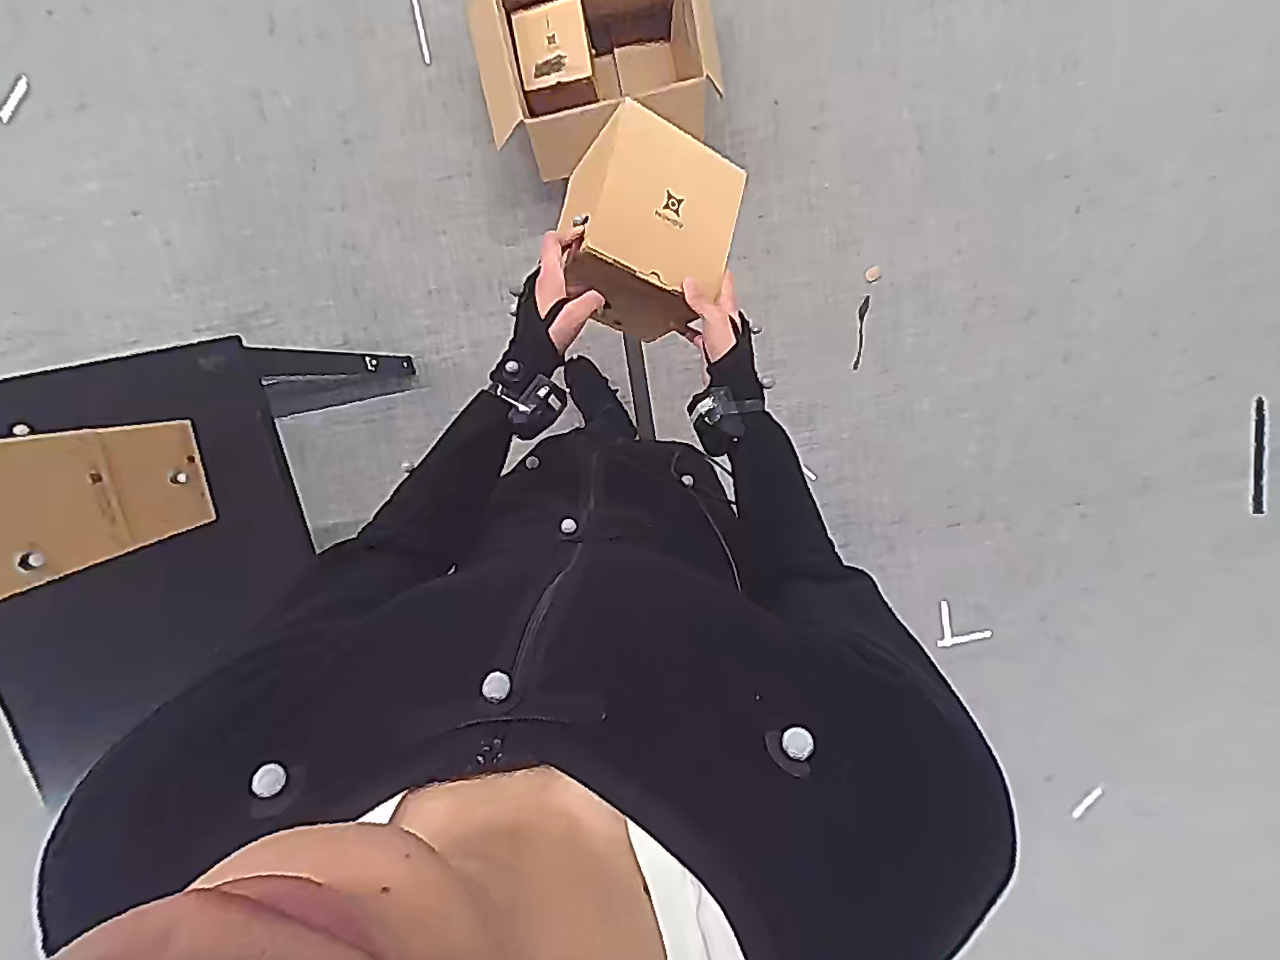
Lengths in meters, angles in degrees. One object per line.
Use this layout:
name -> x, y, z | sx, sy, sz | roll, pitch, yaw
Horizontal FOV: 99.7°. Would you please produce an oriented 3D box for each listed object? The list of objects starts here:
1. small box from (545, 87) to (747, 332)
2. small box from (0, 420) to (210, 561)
small box -> -0.001, -0.302, 0.650 | 0.168, 0.176, 0.179 | 16, 85, -26
small box -> -0.787, 0.008, 0.785 | 0.179, 0.176, 0.168 | -5, 102, 0
